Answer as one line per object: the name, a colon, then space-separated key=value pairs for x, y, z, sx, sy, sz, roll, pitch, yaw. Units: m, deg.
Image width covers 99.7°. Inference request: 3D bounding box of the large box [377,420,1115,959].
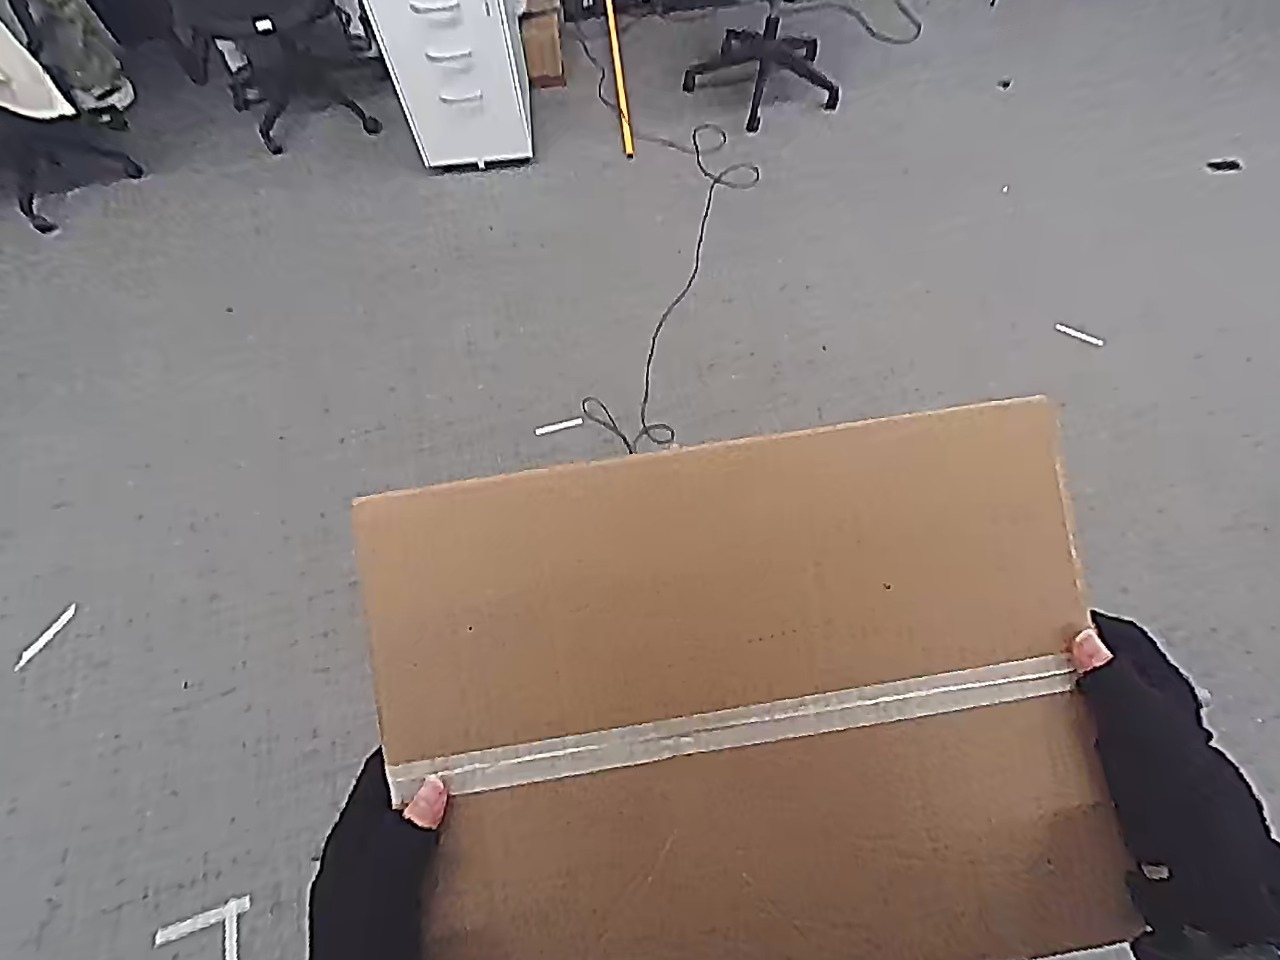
large box: x=0.063 y=0.148 z=0.466 sx=0.408 sy=0.320 sz=0.320 roll=-9 pitch=88 yaw=-2
